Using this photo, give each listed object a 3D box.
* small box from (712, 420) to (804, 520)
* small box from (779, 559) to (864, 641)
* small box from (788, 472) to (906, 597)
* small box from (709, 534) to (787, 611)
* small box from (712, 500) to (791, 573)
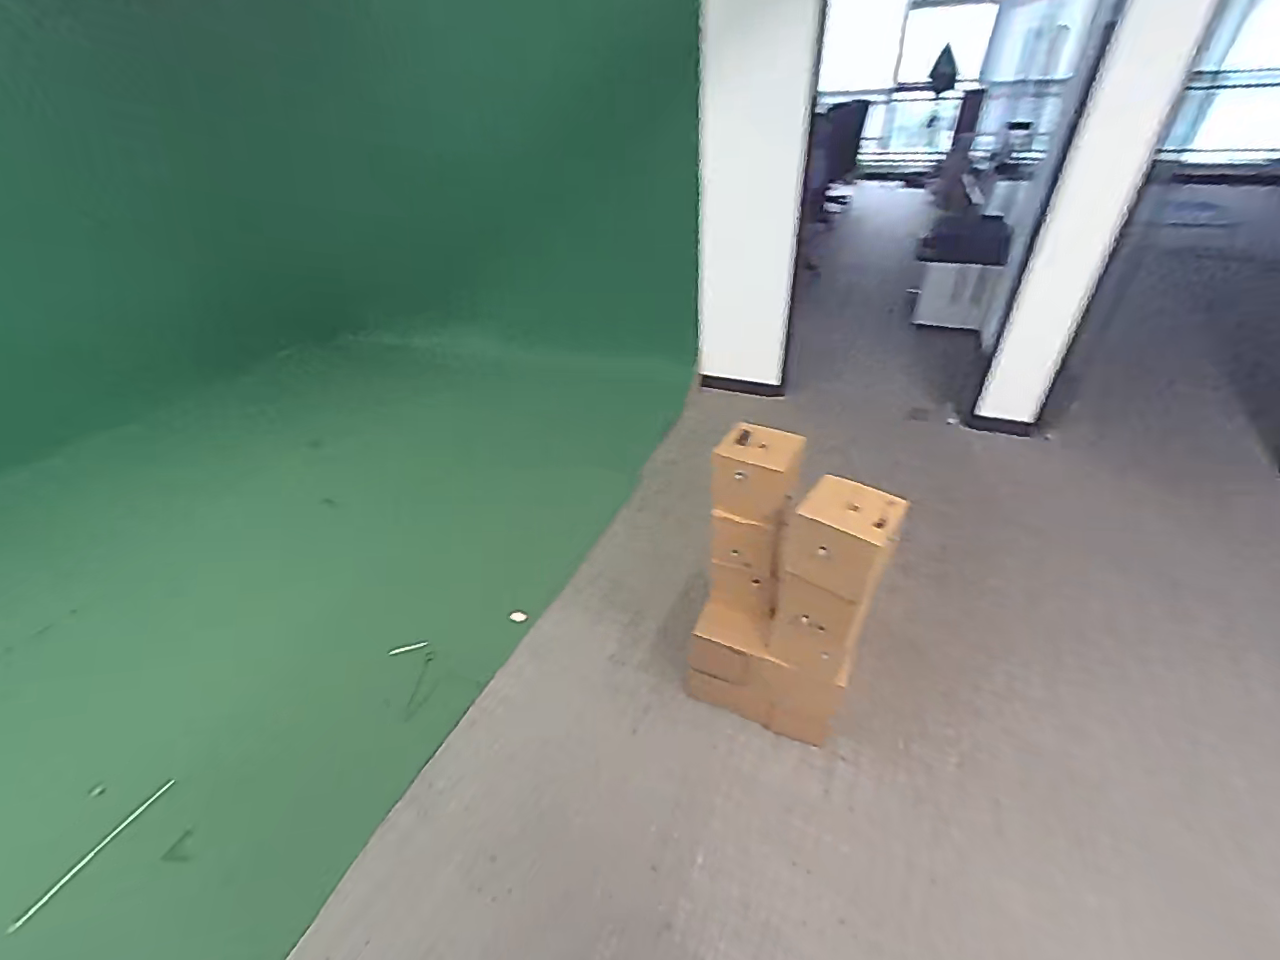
[{"bbox_3d":[0.288,-0.025,1.341,0.179,0.176,0.168,18,42,26],"label":"small box"},{"bbox_3d":[0.434,0.233,1.256,0.168,0.176,0.179,20,43,28],"label":"small box"},{"bbox_3d":[0.429,0.115,1.141,0.179,0.176,0.168,23,45,32],"label":"small box"},{"bbox_3d":[0.304,0.245,1.528,0.179,0.176,0.168,13,38,21],"label":"small box"},{"bbox_3d":[0.292,0.113,1.432,0.168,0.176,0.179,14,40,22],"label":"small box"}]
